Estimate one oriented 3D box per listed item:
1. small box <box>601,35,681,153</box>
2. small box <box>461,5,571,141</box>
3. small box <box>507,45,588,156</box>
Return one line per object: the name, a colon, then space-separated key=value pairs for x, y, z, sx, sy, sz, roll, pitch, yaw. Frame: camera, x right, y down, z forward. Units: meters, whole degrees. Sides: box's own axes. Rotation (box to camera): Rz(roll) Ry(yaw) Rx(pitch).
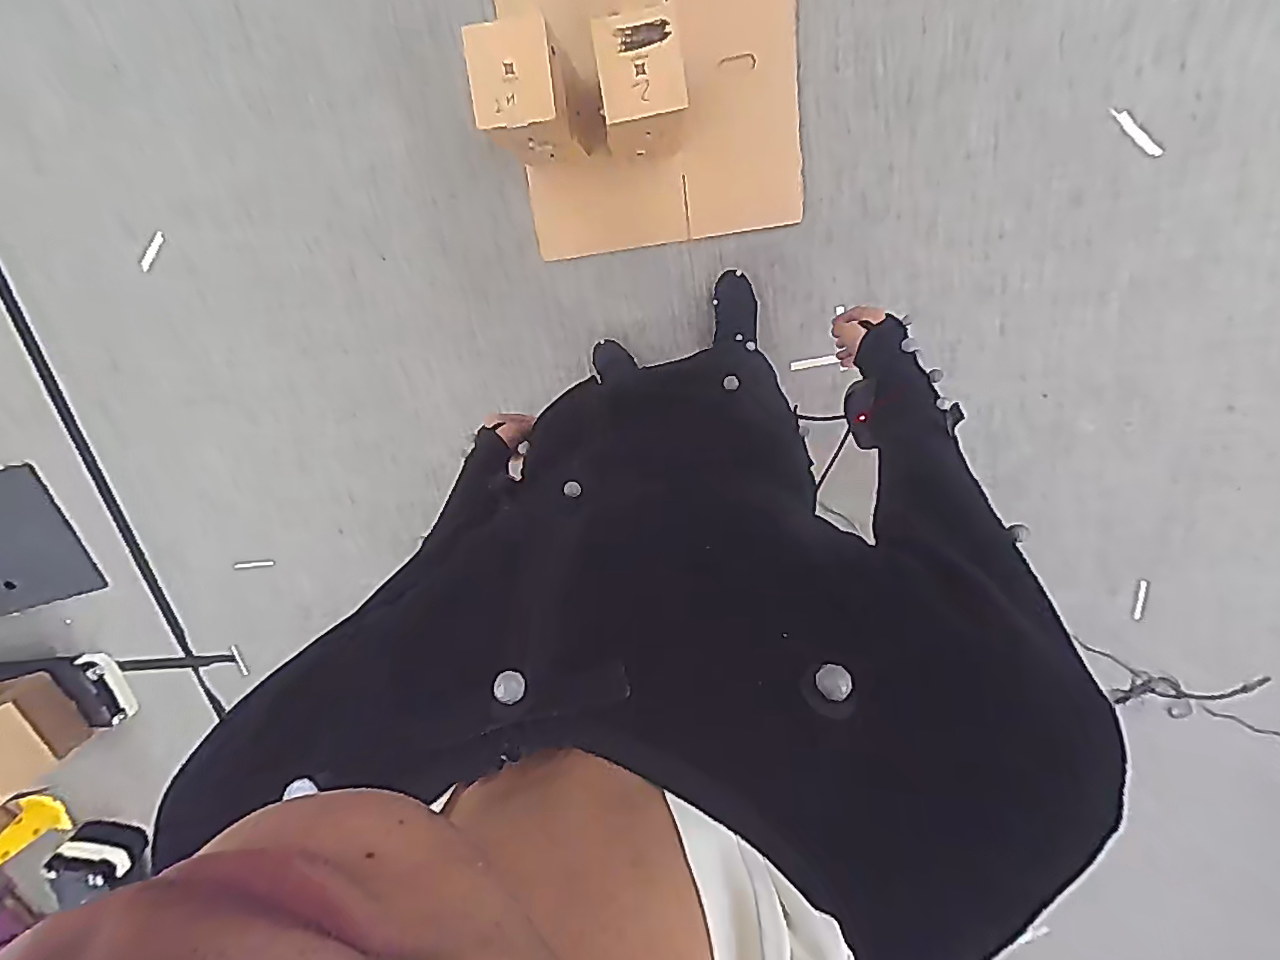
small box: x=0.007 y=-0.878 z=1.245 sx=0.168 sy=0.176 sz=0.179 roll=-3 pitch=110 yaw=5
small box: x=-0.245 y=-0.821 z=1.108 sx=0.168 sy=0.176 sz=0.179 roll=-2 pitch=111 yaw=6
small box: x=-0.222 y=-0.874 z=1.264 sx=0.168 sy=0.176 sz=0.179 roll=-4 pitch=111 yaw=6
